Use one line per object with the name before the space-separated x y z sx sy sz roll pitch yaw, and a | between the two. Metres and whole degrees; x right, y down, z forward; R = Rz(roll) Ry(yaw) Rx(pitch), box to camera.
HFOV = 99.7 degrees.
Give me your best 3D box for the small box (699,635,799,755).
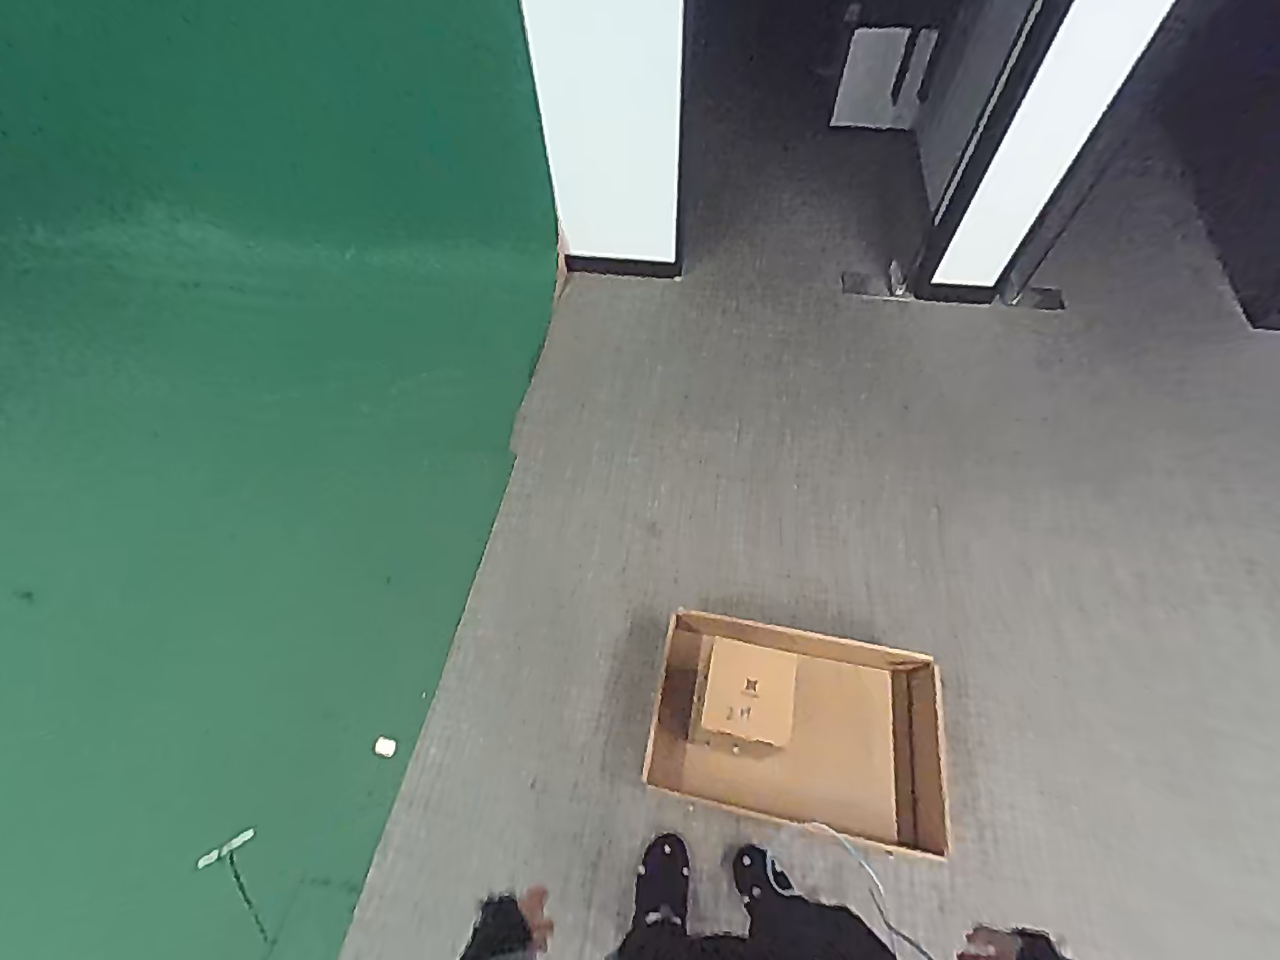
small box | 0.215 0.438 1.095 0.168 0.176 0.179 11 61 10
